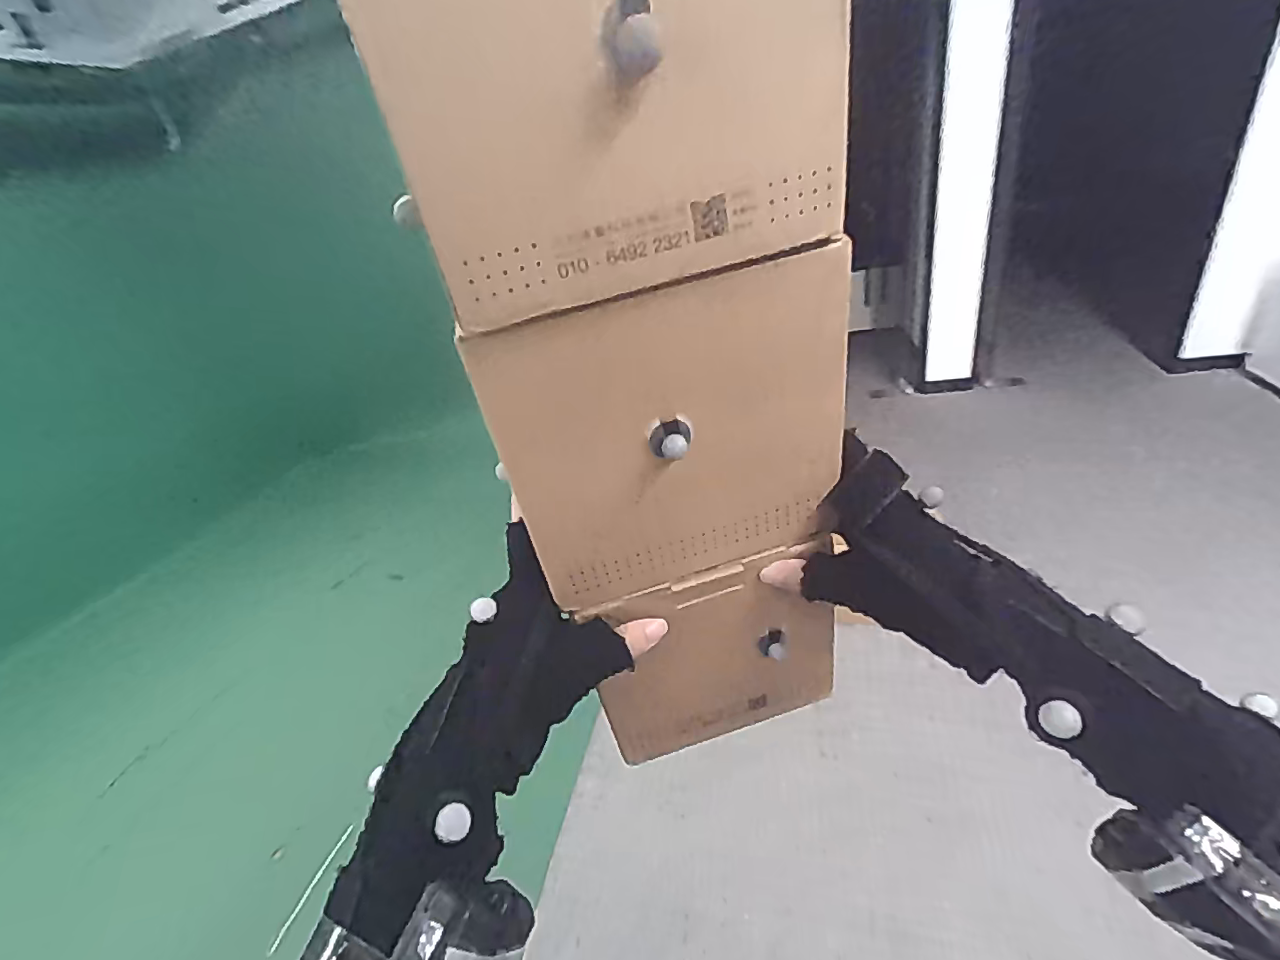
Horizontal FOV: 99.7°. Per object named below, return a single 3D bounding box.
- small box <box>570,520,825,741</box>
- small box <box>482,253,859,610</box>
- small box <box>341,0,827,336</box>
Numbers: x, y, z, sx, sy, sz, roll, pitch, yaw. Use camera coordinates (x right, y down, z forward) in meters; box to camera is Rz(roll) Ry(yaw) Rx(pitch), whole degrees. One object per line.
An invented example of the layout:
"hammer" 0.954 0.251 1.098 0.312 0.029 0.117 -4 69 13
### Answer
"small box" 0.035 0.081 0.438 0.168 0.176 0.179 -16 34 -5
"small box" 0.008 -0.050 0.343 0.179 0.176 0.168 -17 35 -9
"small box" -0.026 -0.181 0.251 0.168 0.176 0.179 -18 35 -7
